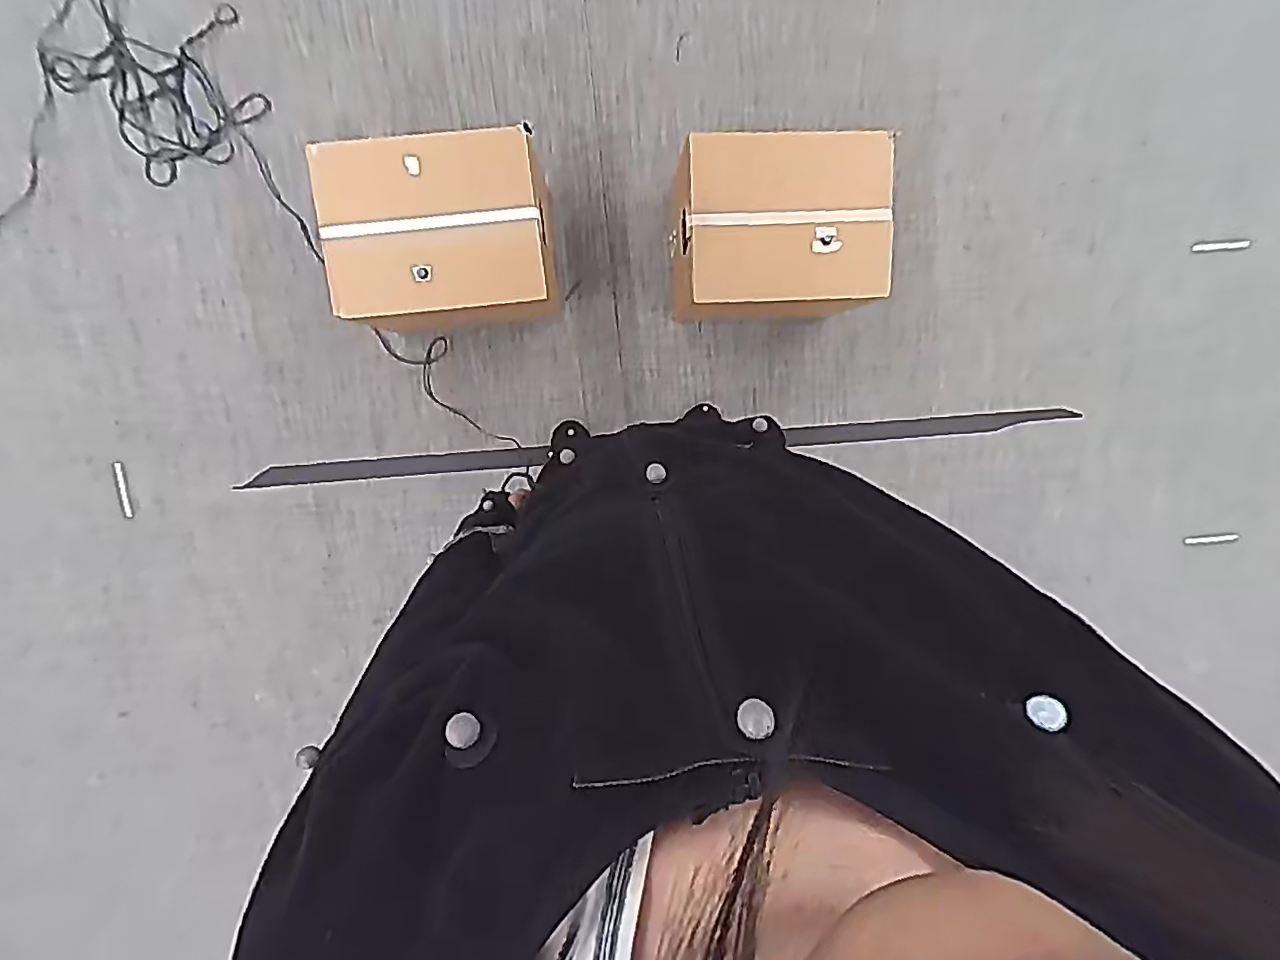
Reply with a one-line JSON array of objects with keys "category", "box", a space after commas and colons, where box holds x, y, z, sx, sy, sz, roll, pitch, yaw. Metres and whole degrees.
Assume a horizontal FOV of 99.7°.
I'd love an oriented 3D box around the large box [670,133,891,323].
[{"category": "large box", "box": [0.289, -0.540, 1.216, 0.408, 0.320, 0.320, -3, 99, -4]}]
